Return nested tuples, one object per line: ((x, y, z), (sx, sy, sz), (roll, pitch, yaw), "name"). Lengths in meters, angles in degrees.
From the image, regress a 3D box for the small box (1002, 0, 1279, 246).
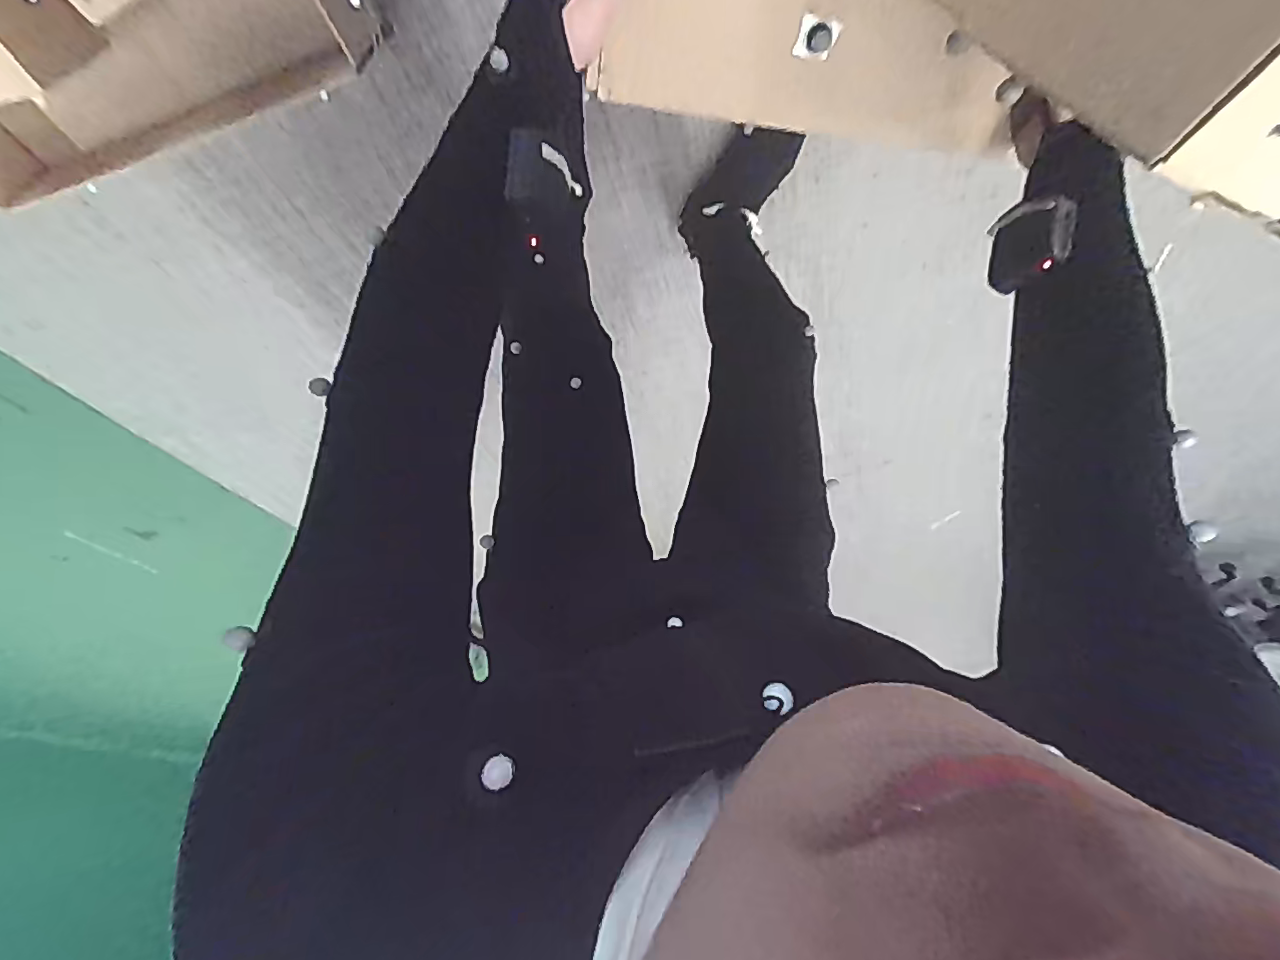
((0.279, -0.206, 0.198), (0.168, 0.176, 0.179), (8, 140, -19), "small box")
